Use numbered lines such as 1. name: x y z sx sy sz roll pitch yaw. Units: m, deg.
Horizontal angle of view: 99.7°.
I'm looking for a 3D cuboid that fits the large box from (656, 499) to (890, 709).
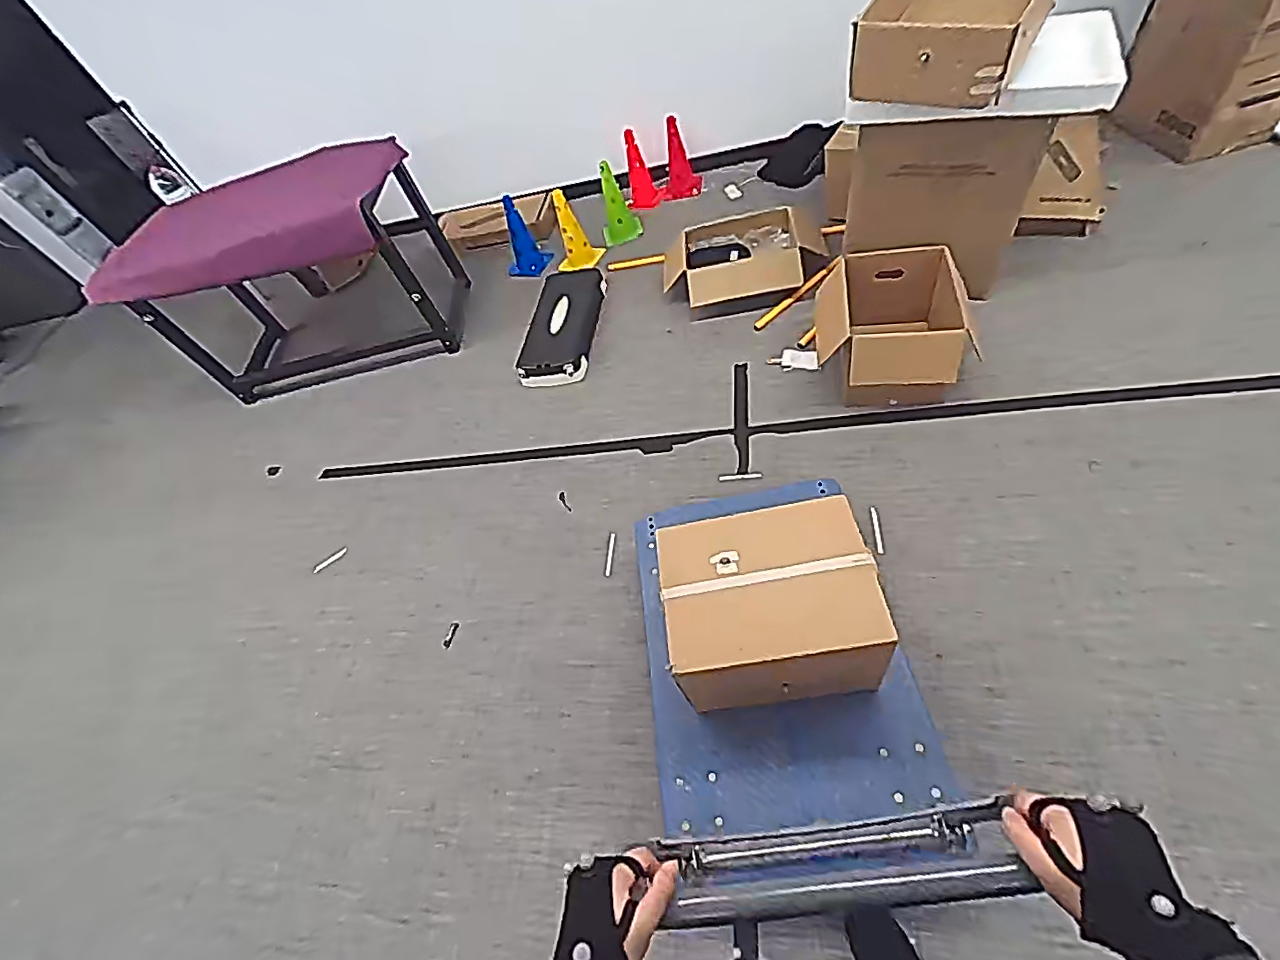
1. large box: 0.276 0.285 1.183 0.408 0.320 0.320 -12 52 9
